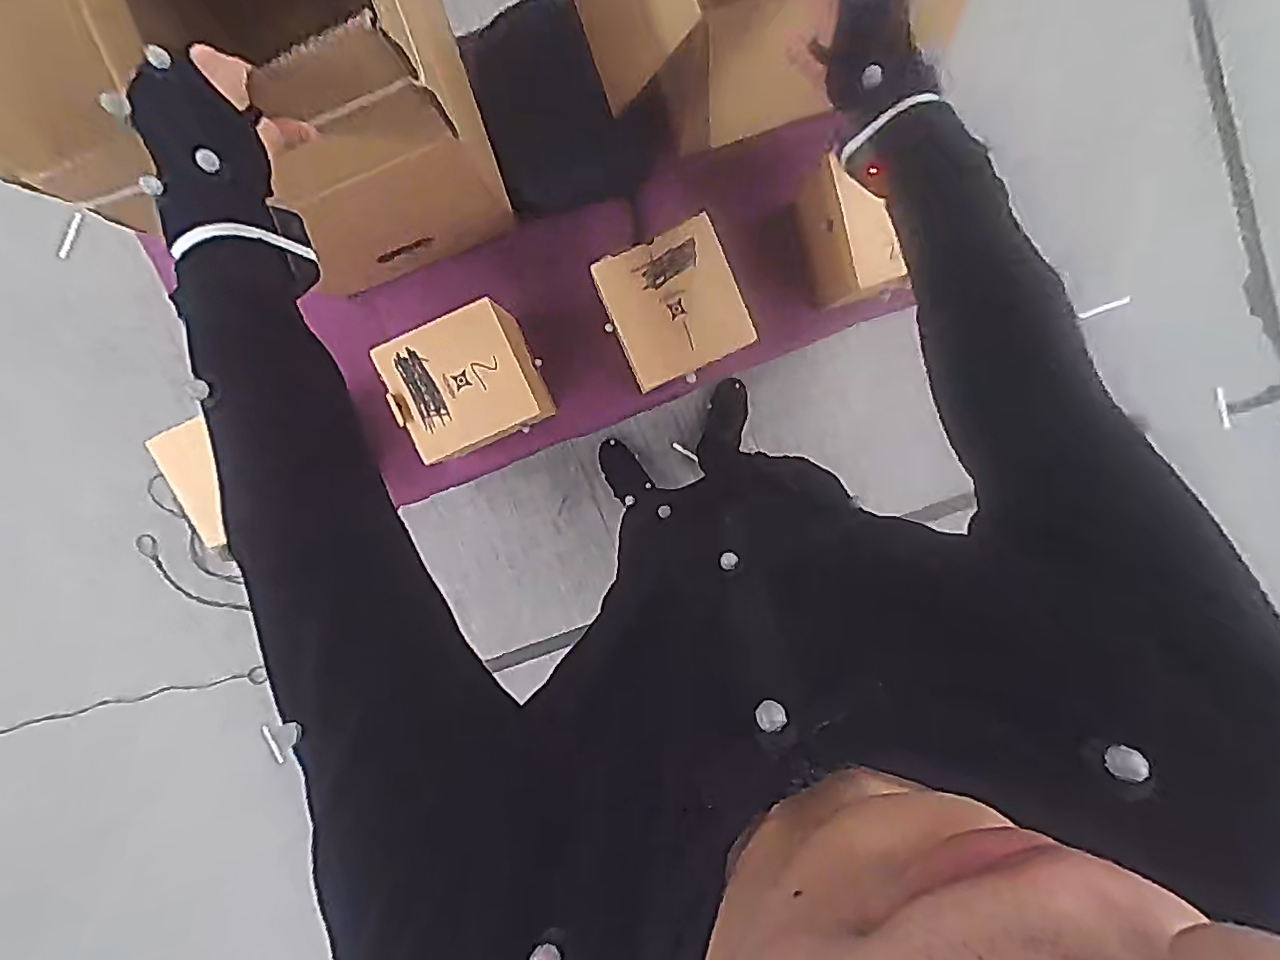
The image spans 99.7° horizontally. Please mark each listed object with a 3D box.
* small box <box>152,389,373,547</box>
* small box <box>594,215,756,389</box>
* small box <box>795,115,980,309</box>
[{"bbox_3d":[-0.544,-0.023,0.807,0.179,0.176,0.168,-25,97,2],"label":"small box"},{"bbox_3d":[0.045,-0.240,0.779,0.168,0.176,0.179,-23,98,4],"label":"small box"},{"bbox_3d":[0.334,-0.361,0.762,0.168,0.176,0.179,-16,97,3],"label":"small box"}]
